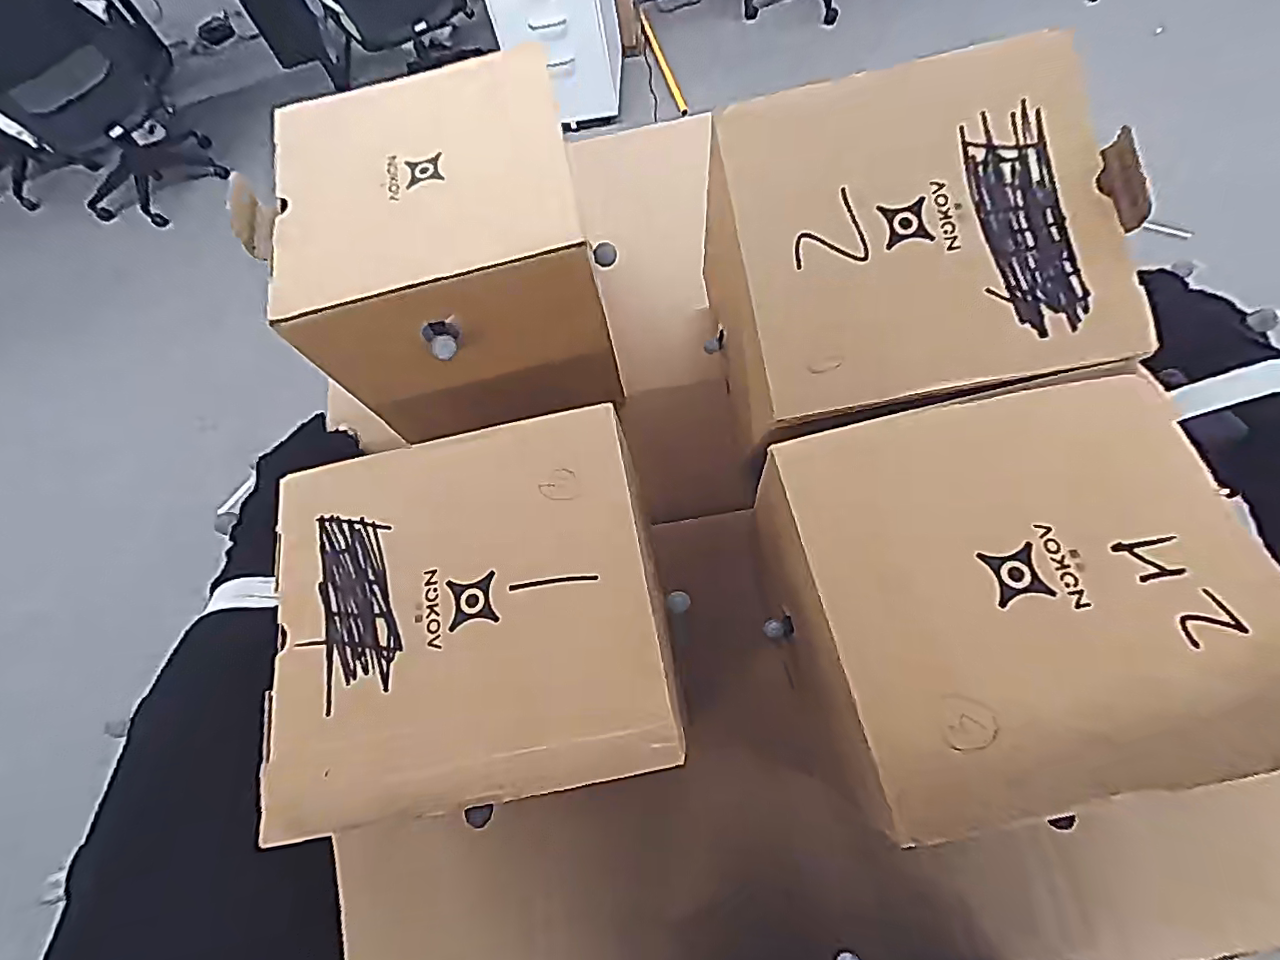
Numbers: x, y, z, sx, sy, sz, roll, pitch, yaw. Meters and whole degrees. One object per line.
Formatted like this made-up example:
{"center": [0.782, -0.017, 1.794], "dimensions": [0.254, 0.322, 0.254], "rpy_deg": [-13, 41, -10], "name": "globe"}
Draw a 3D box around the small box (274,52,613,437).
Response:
{"center": [-0.123, -0.152, 0.395], "dimensions": [0.179, 0.176, 0.168], "rpy_deg": [-14, 69, 3], "name": "small box"}
